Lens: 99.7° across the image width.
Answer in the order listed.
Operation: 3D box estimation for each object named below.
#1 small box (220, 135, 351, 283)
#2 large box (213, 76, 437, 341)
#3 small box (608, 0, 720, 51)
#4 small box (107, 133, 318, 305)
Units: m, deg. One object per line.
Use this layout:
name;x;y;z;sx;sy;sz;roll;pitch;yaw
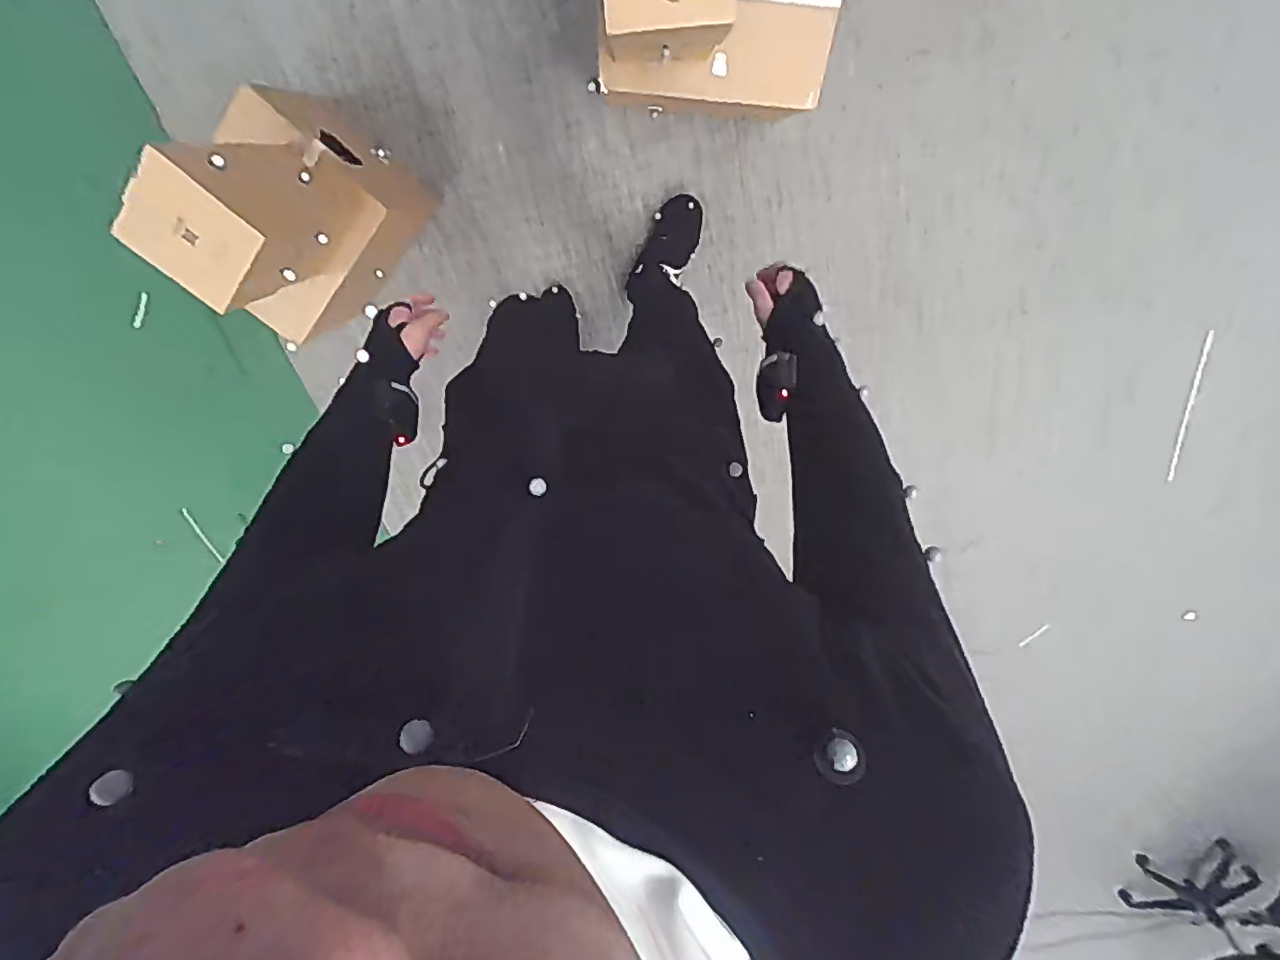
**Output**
small box;-0.676;-0.504;1.007;0.168;0.176;0.179;40;114;-20
large box;-0.741;-0.606;1.235;0.320;0.320;0.408;41;115;-19
small box;0.036;-0.775;0.826;0.168;0.176;0.179;-2;122;2
small box;-0.672;-0.417;0.869;0.168;0.176;0.179;-40;113;23
